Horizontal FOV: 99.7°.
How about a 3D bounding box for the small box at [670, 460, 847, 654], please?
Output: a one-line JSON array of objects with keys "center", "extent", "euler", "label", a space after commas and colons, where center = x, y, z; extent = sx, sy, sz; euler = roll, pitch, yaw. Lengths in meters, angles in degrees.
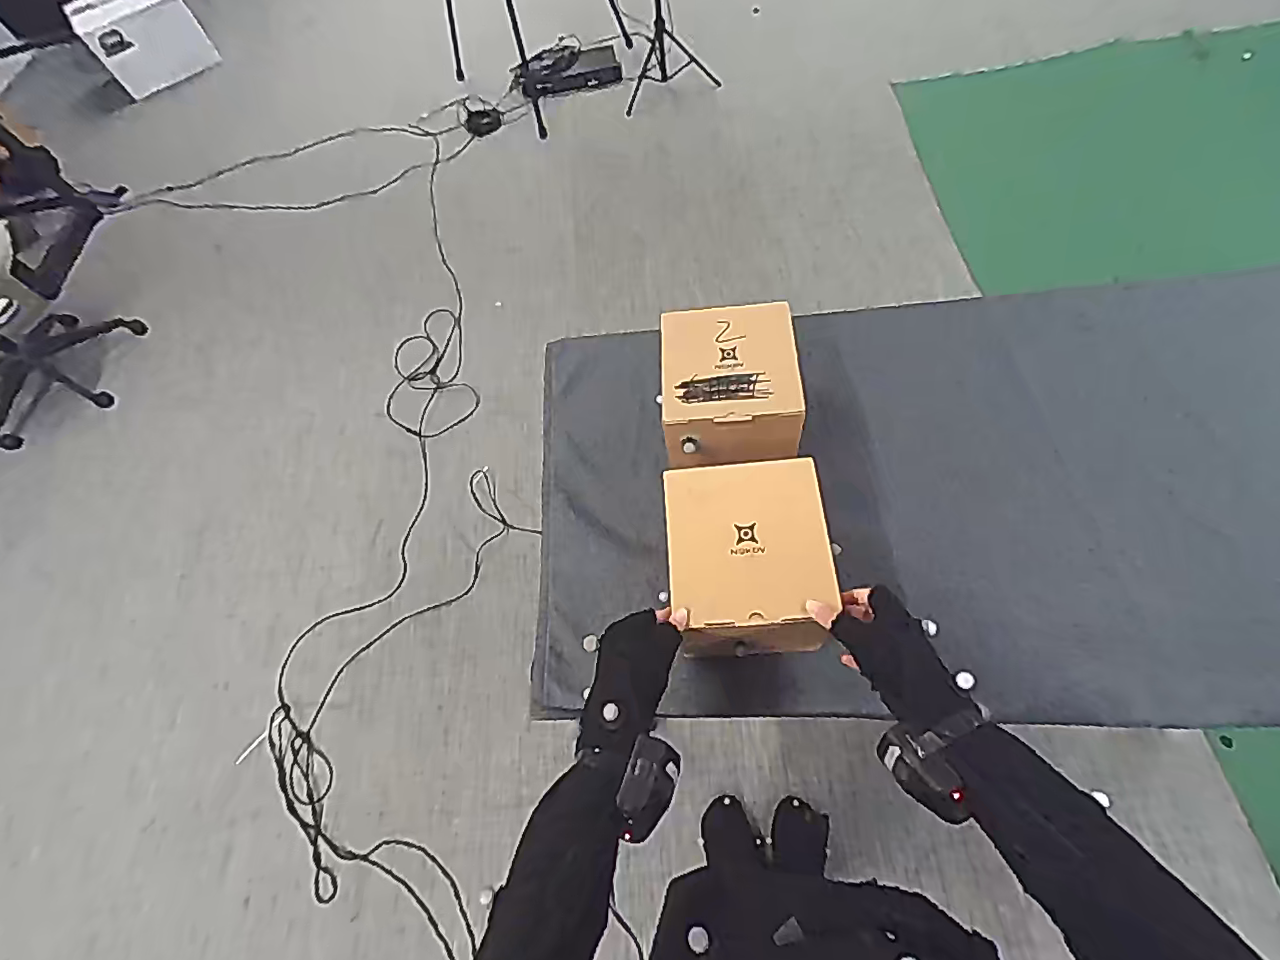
[{"center": [0.126, 0.096, 0.633], "extent": [0.168, 0.176, 0.179], "euler": [-6, 63, 6], "label": "small box"}]
